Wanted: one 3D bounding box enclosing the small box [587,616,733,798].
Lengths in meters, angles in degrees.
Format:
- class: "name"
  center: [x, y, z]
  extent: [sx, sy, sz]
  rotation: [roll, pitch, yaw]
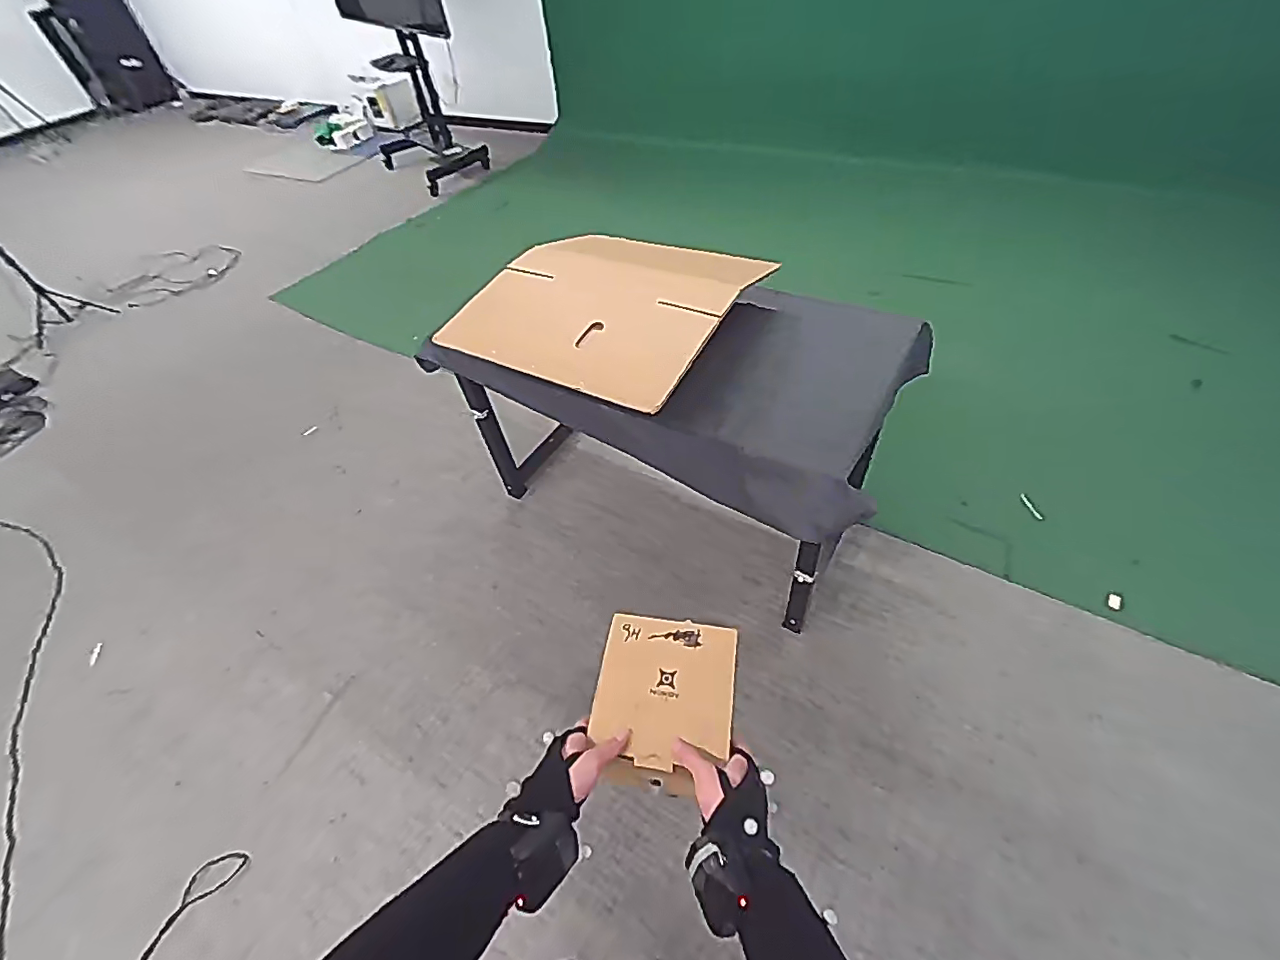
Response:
- class: "small box"
  center: [0.037, 0.304, 0.720]
  extent: [0.168, 0.176, 0.179]
  rotation: [3, 49, 8]
